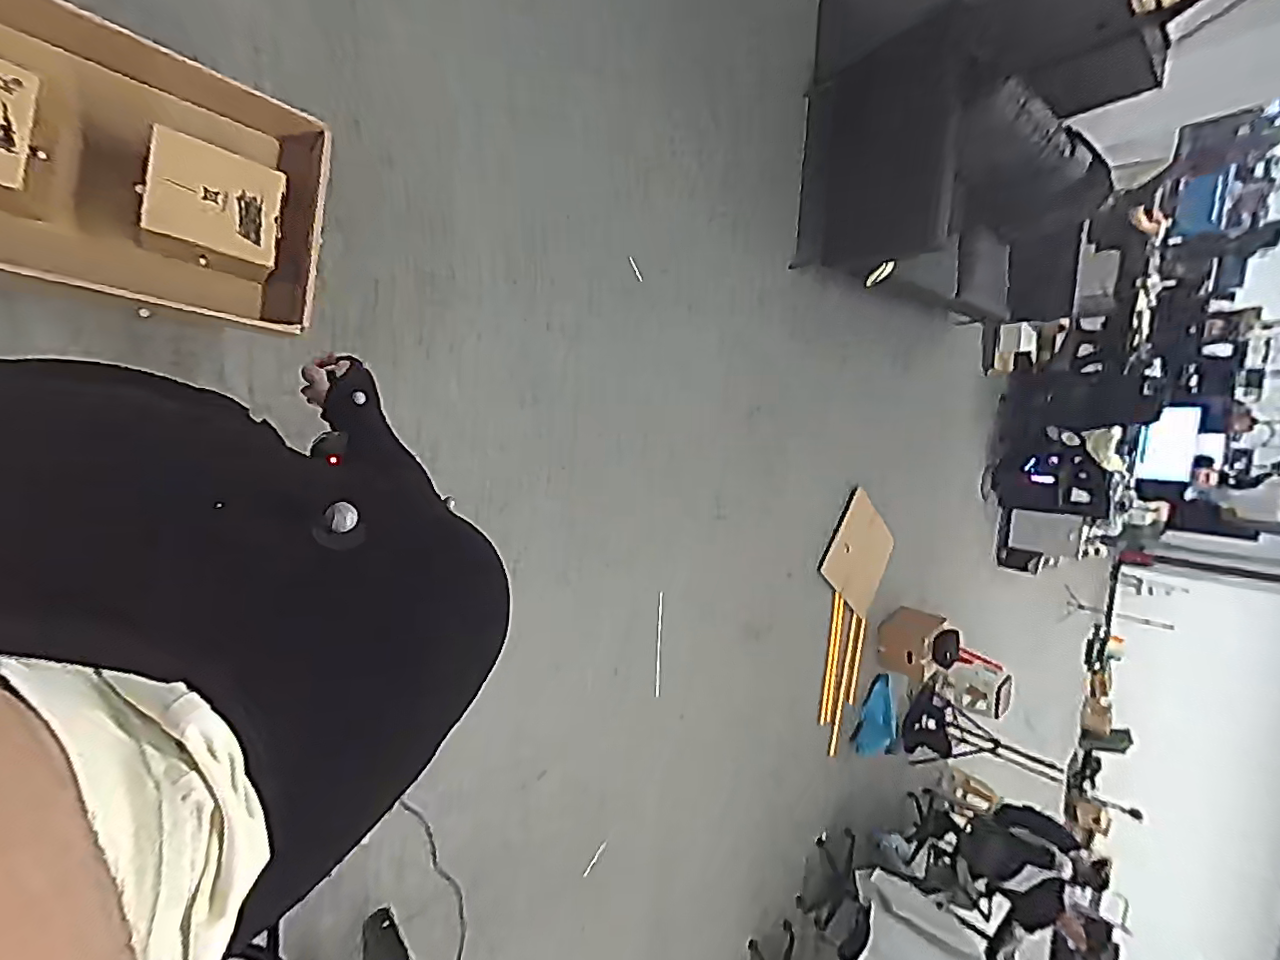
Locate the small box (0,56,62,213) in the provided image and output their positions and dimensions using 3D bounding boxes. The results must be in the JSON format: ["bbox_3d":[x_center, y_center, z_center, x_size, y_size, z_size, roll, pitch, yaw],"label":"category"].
[{"bbox_3d":[-0.962,-0.504,0.754,0.179,0.176,0.168,11,89,-40],"label":"small box"}]
